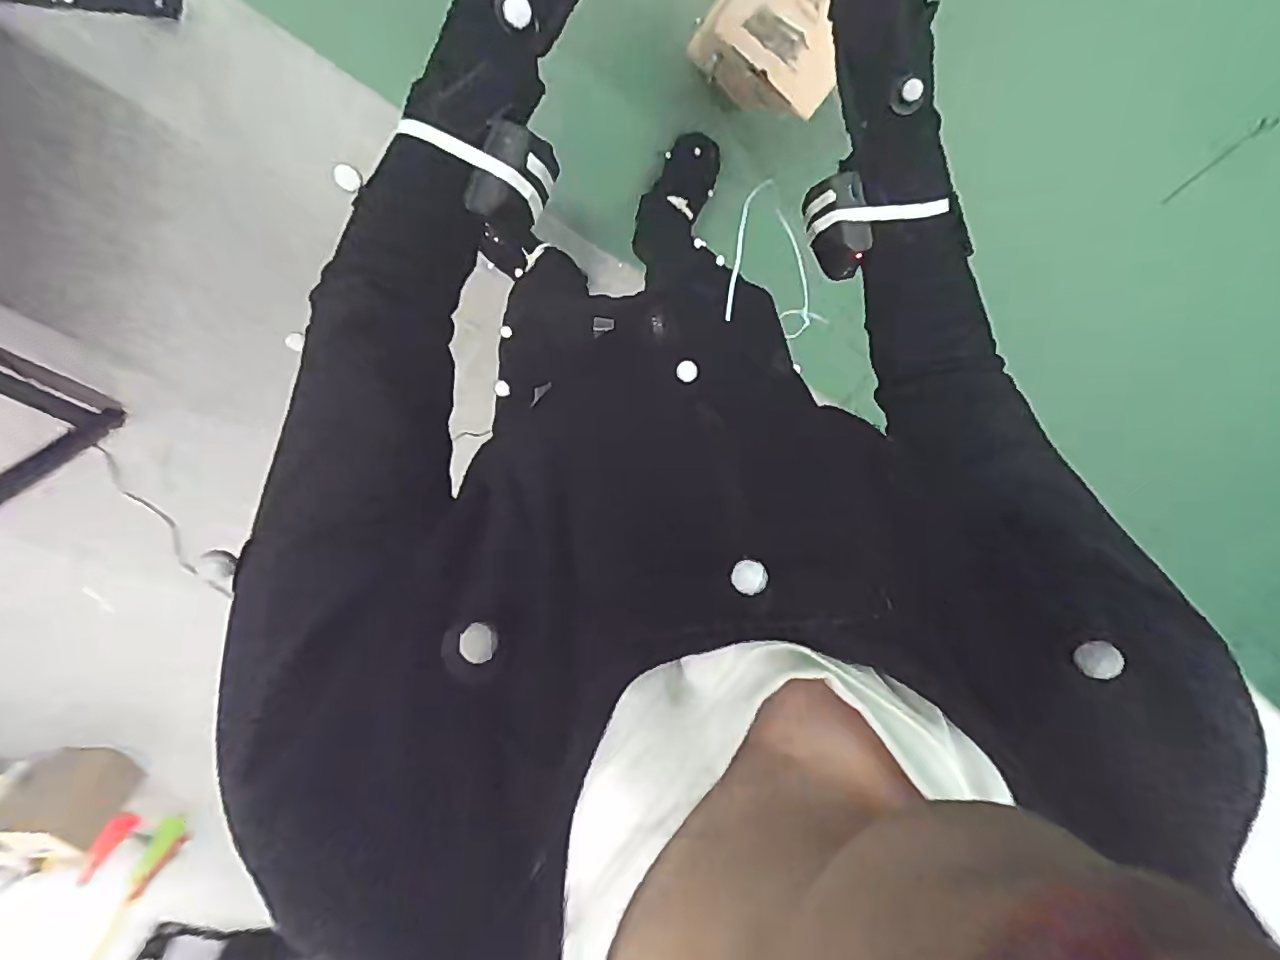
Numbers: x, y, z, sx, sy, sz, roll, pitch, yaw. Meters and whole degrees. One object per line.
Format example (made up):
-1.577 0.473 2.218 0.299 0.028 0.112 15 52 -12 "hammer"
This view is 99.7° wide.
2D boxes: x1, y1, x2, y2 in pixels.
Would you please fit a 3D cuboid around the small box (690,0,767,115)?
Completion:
0.202 -0.809 0.981 0.168 0.176 0.179 31 122 -20 "small box"

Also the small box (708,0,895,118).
0.203 -0.620 0.711 0.168 0.176 0.179 31 121 -20 "small box"
